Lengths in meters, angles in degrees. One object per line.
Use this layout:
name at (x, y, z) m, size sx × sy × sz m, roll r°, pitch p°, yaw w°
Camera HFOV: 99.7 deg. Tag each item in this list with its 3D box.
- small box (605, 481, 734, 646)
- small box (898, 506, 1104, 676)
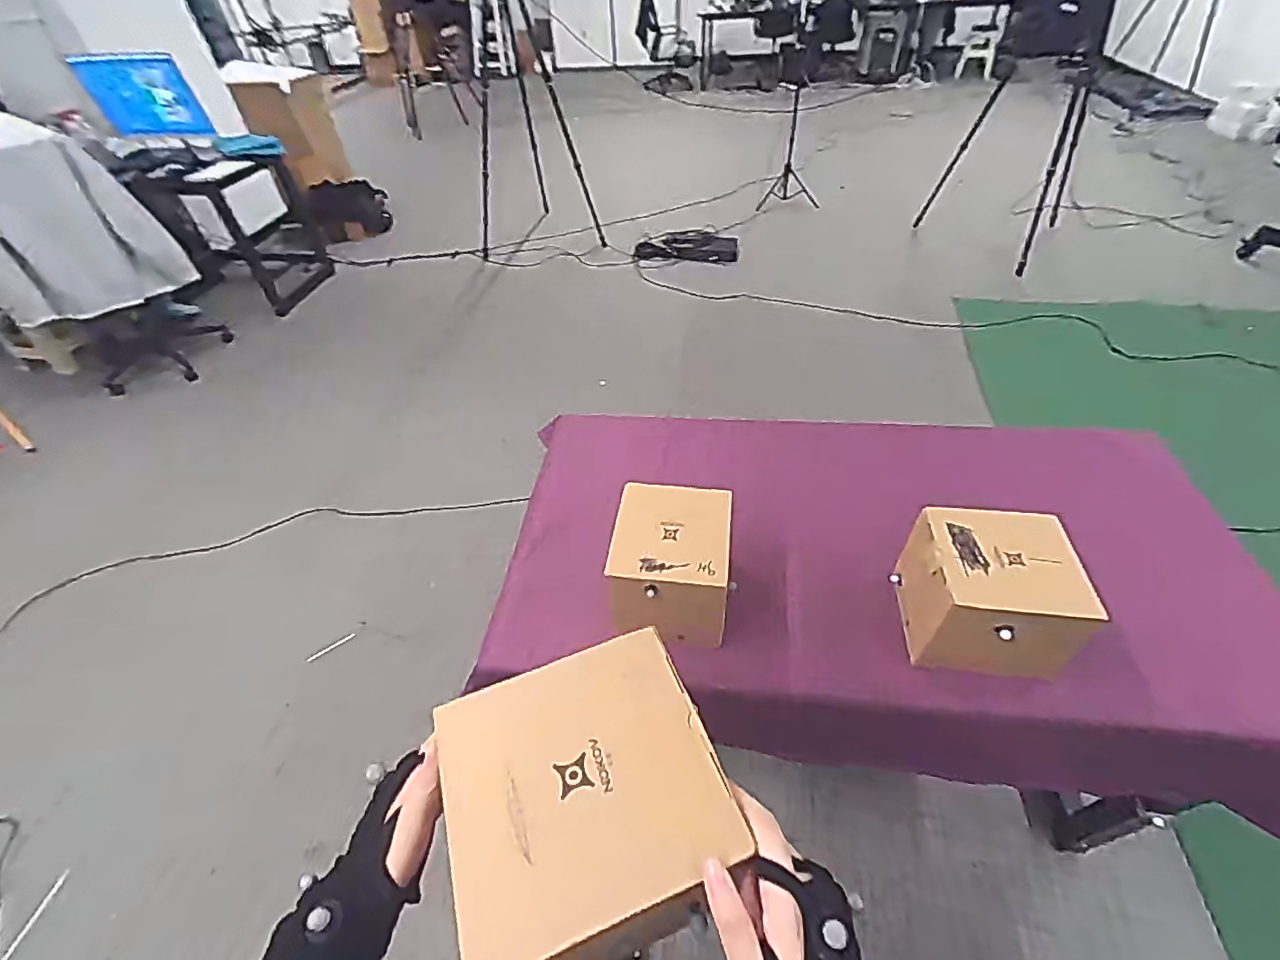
small box at (0.050, 0.126, 0.824) m, size 0.168 × 0.176 × 0.179 m, roll 4°, pitch 46°, yaw 9°
small box at (0.480, 0.157, 0.760) m, size 0.179 × 0.176 × 0.168 m, roll 4°, pitch 46°, yaw 8°
